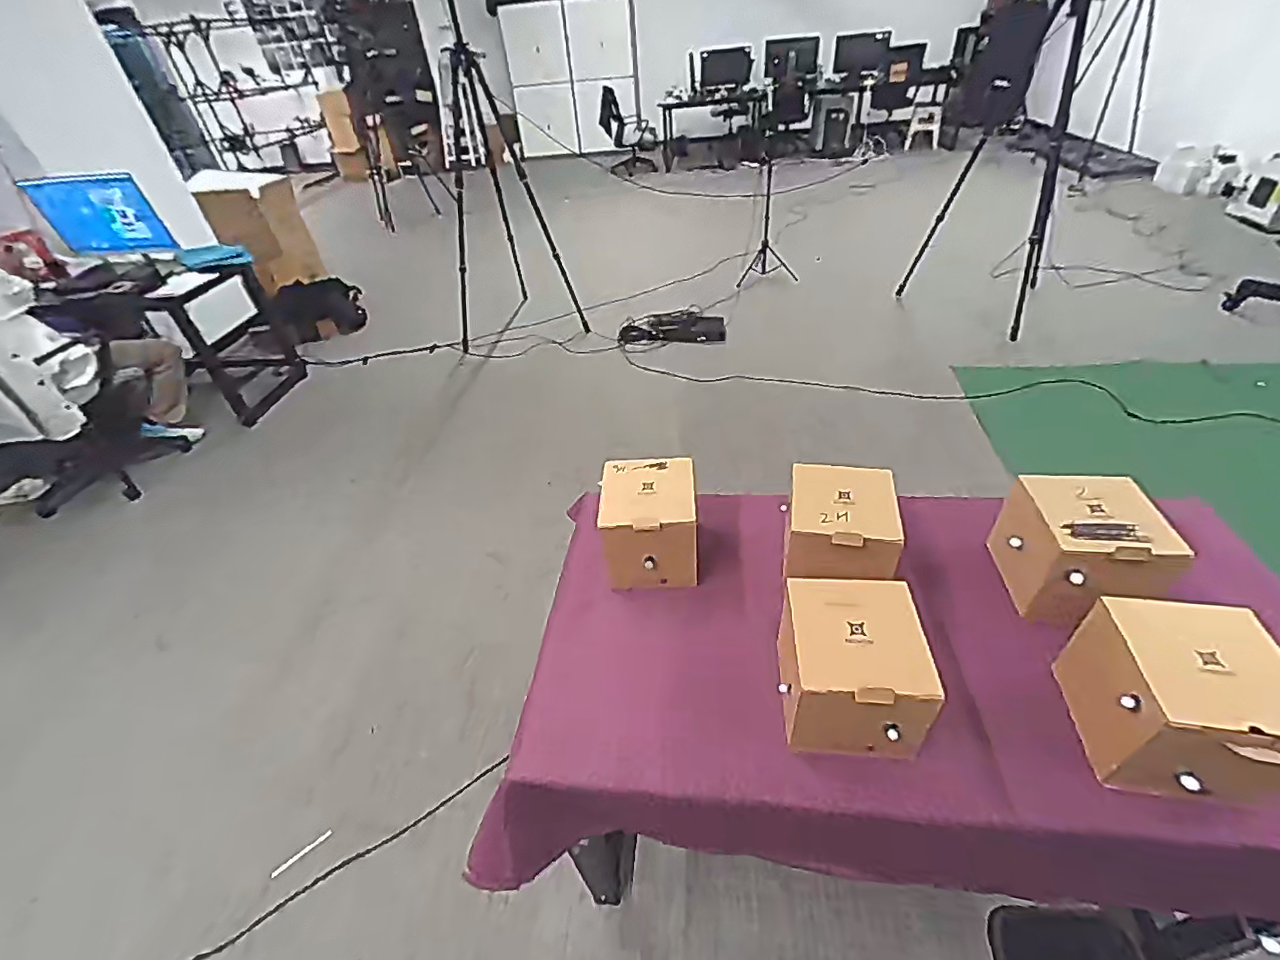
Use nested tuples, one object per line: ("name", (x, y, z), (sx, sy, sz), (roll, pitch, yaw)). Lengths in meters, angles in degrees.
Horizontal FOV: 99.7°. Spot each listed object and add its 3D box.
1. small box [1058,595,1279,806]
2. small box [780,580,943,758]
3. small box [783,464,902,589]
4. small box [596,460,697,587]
("small box", (0.672, 0.272, 0.678), (0.168, 0.176, 0.179), (3, 41, 12))
("small box", (0.289, 0.261, 0.750), (0.168, 0.176, 0.179), (0, 39, 8))
("small box", (0.340, 0.094, 0.938), (0.168, 0.176, 0.179), (4, 41, 14))
("small box", (0.019, 0.084, 0.998), (0.168, 0.176, 0.179), (-2, 41, 5))
